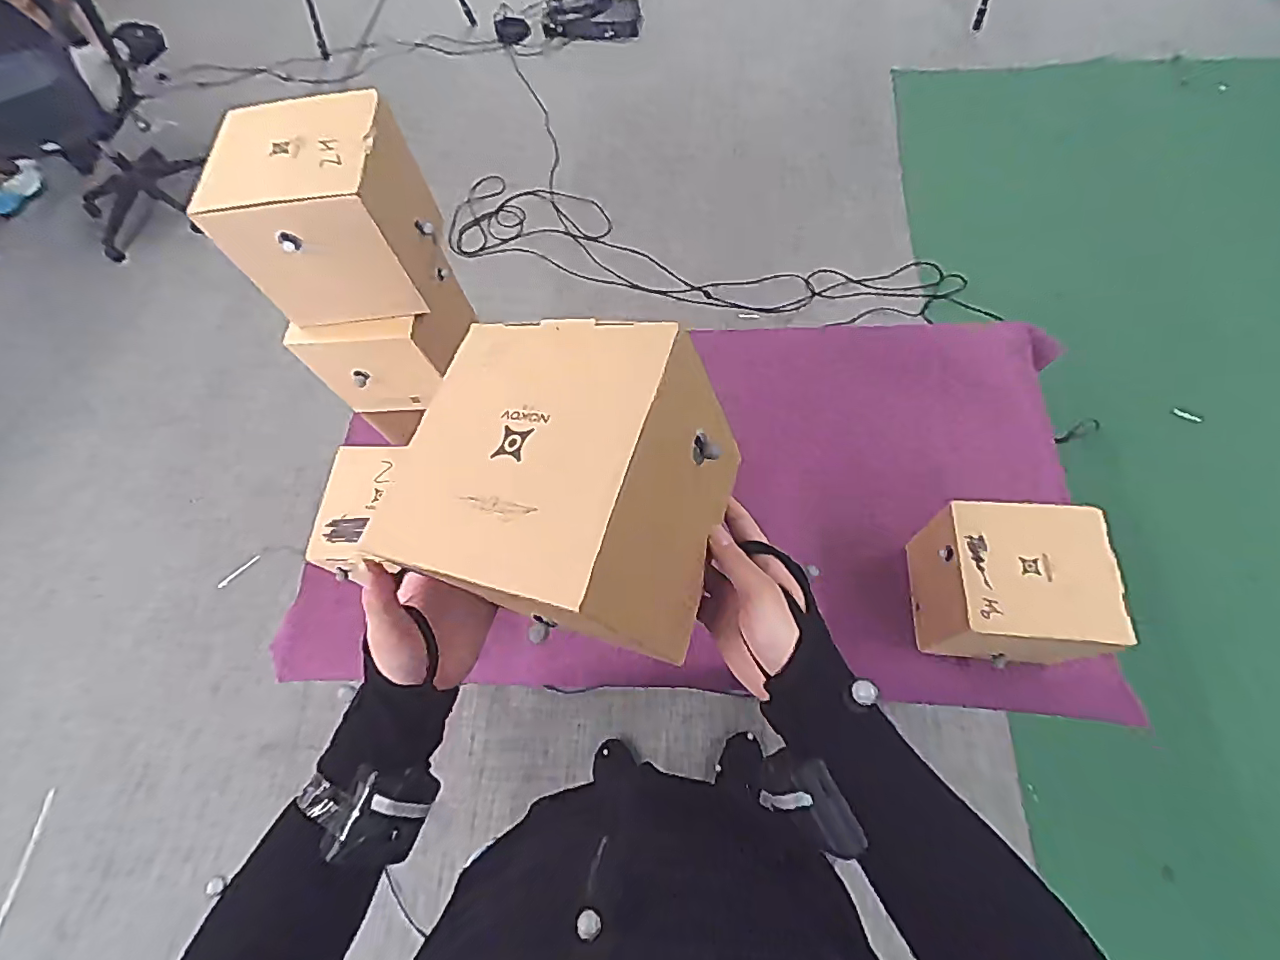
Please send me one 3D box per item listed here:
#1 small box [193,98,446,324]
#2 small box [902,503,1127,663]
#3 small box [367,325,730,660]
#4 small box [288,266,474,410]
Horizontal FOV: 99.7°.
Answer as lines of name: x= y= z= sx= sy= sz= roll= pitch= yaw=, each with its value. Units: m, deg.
small box: x=-0.352 y=-0.302 z=0.633 sx=0.179 sy=0.176 sz=0.168 roll=-5 pitch=66 yaw=2
small box: x=0.473 y=0.142 z=0.715 sx=0.179 sy=0.176 sz=0.168 roll=4 pitch=65 yaw=7
small box: x=-0.043 y=0.012 z=0.391 sx=0.168 sy=0.176 sz=0.179 roll=8 pitch=68 yaw=27
small box: x=-0.351 y=-0.211 z=0.772 sx=0.168 sy=0.176 sz=0.179 roll=-2 pitch=65 yaw=4
